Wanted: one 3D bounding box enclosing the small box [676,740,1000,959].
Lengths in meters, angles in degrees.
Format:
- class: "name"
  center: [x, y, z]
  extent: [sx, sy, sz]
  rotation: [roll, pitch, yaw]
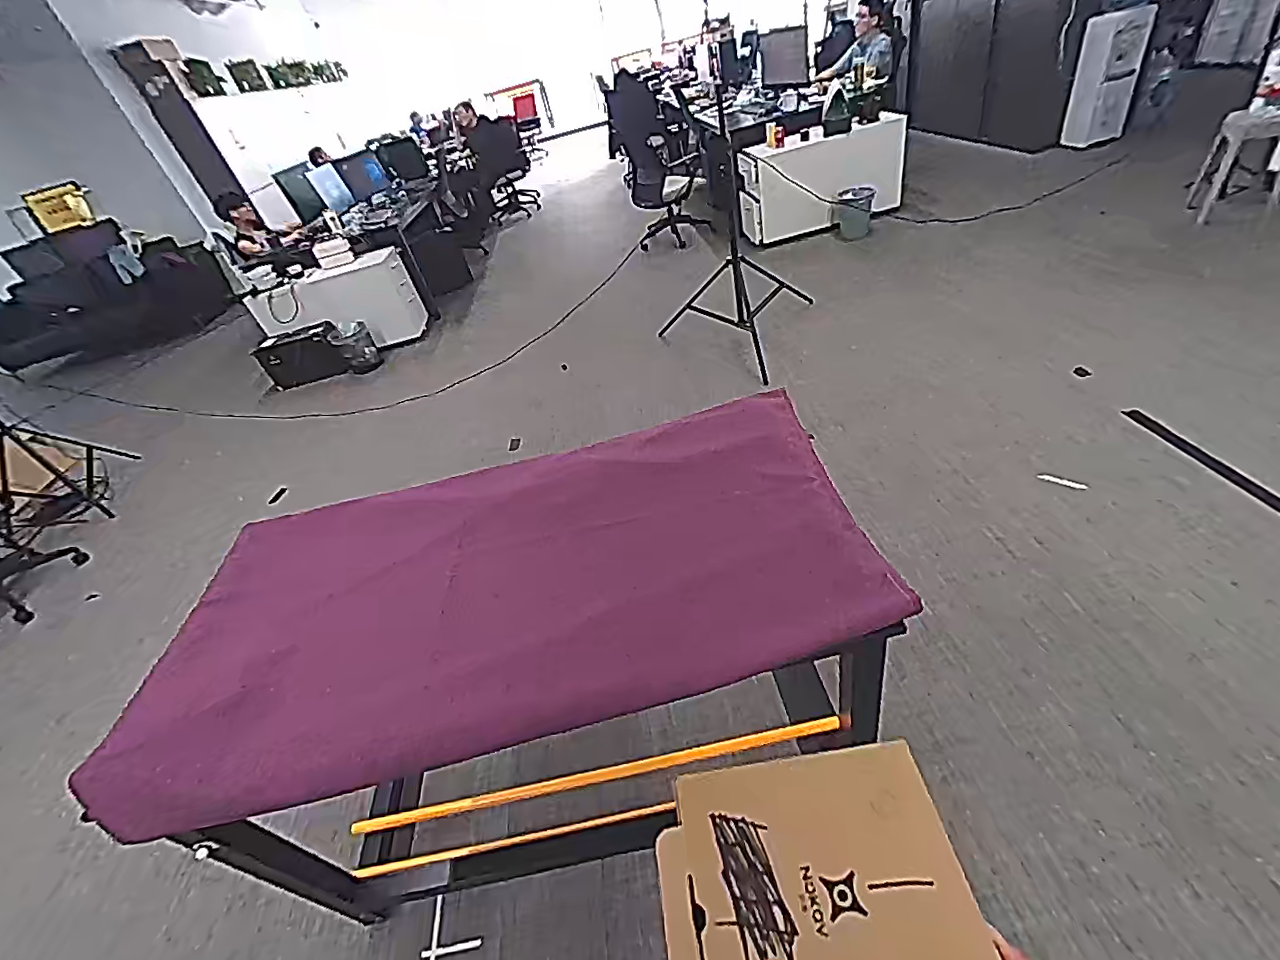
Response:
- class: "small box"
  center: [0.130, 0.319, 0.403]
  extent: [0.179, 0.176, 0.168]
  rotation: [-9, 46, 0]
